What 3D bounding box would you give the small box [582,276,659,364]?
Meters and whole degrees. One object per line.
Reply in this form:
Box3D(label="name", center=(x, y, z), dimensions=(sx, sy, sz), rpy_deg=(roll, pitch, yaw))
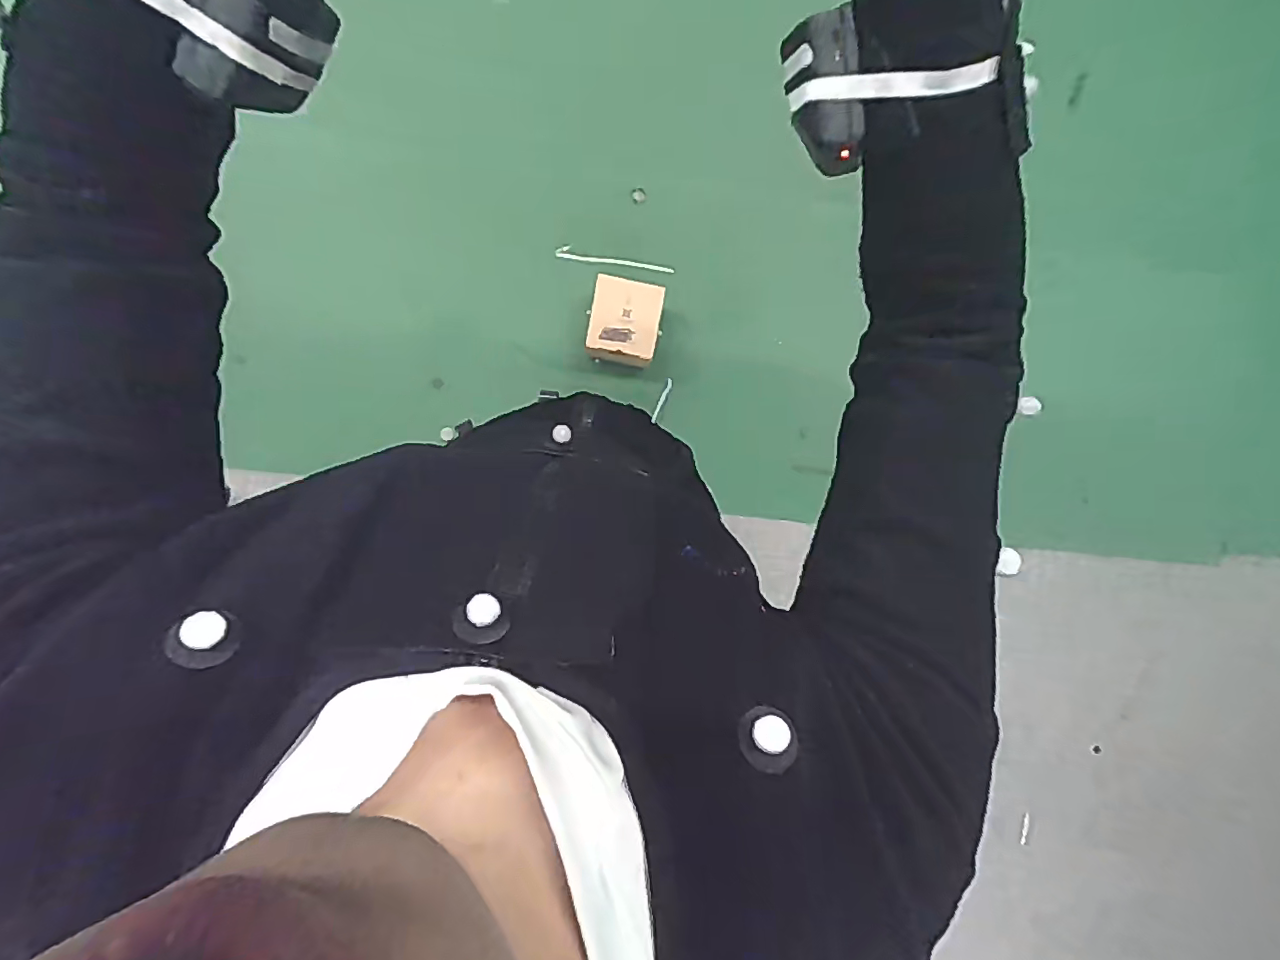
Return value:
Box3D(label="small box", center=(-0.052, -0.393, 1.363), dimensions=(0.168, 0.176, 0.179), rpy_deg=(7, 96, -6))
